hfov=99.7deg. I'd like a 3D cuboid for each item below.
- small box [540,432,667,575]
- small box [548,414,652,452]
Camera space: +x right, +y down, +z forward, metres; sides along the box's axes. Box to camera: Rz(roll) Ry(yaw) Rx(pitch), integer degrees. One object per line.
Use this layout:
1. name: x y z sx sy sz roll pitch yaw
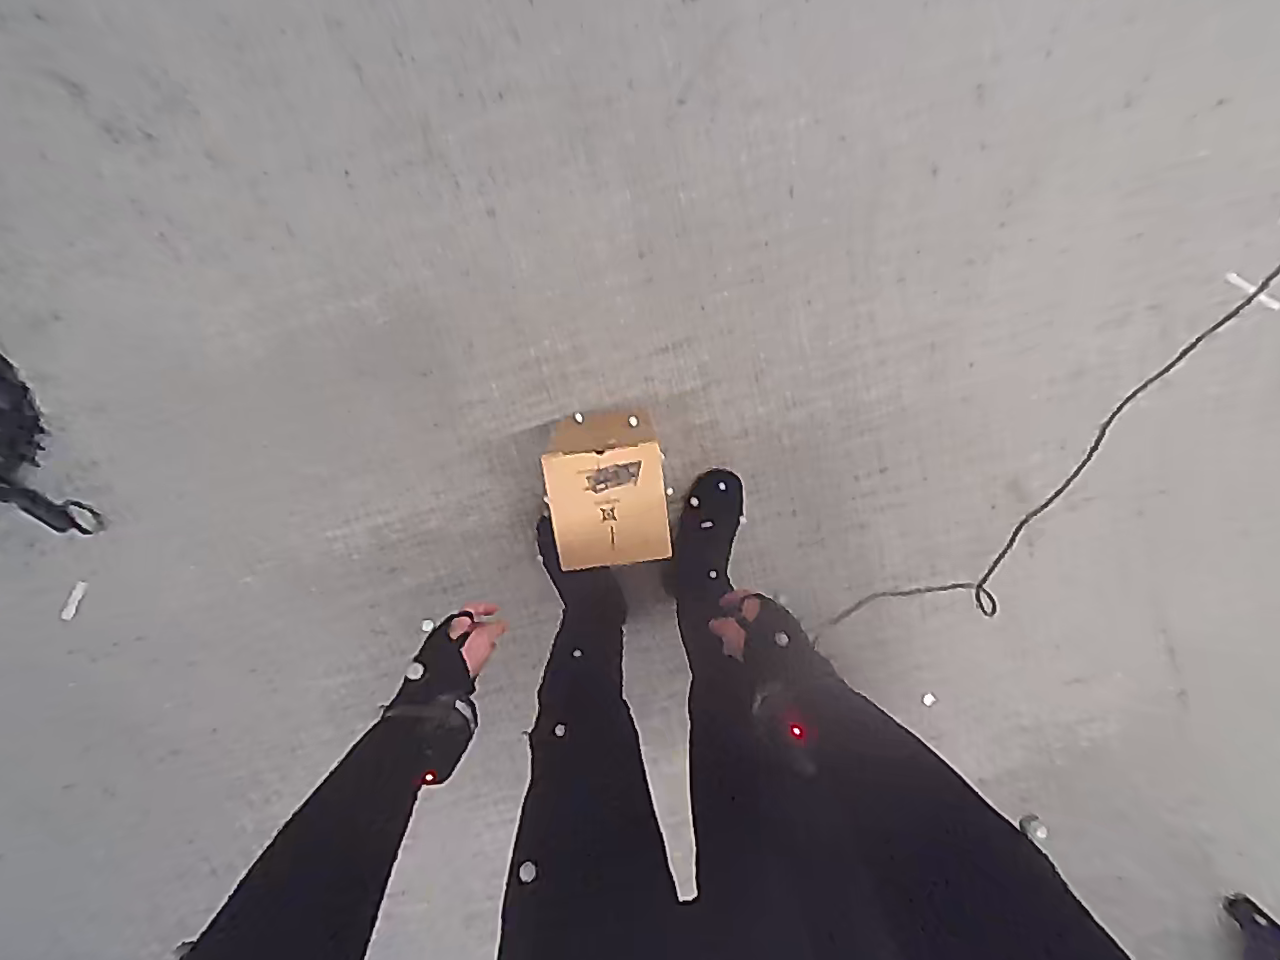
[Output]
1. small box: -0.052 0.026 0.845 0.168 0.176 0.179 -7 107 1
2. small box: -0.062 -0.022 1.001 0.179 0.176 0.168 -8 106 -1
